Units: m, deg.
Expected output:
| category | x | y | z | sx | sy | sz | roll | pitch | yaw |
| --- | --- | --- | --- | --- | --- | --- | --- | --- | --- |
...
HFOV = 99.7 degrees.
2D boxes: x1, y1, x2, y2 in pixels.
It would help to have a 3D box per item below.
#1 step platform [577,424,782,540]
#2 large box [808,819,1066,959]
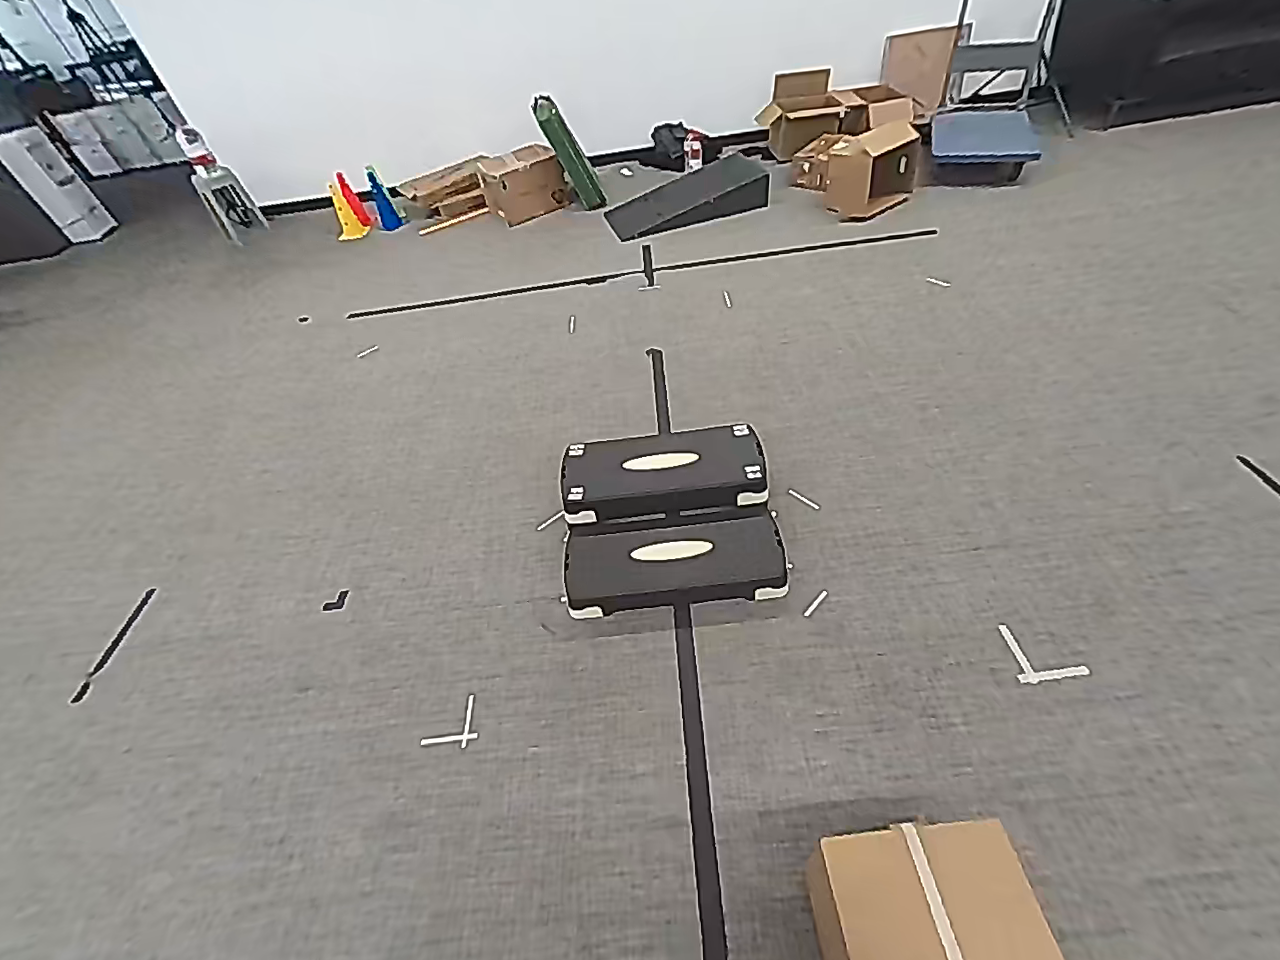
| category | x | y | z | sx | sy | sz | roll | pitch | yaw |
| --- | --- | --- | --- | --- | --- | --- | --- | --- | --- |
| step platform | 0.127 | 0.001 | 1.840 | 0.684 | 0.204 | 0.286 | -7 | 47 | 2 |
| large box | 0.506 | 0.849 | 0.914 | 0.320 | 0.320 | 0.408 | -9 | 48 | 3 |
